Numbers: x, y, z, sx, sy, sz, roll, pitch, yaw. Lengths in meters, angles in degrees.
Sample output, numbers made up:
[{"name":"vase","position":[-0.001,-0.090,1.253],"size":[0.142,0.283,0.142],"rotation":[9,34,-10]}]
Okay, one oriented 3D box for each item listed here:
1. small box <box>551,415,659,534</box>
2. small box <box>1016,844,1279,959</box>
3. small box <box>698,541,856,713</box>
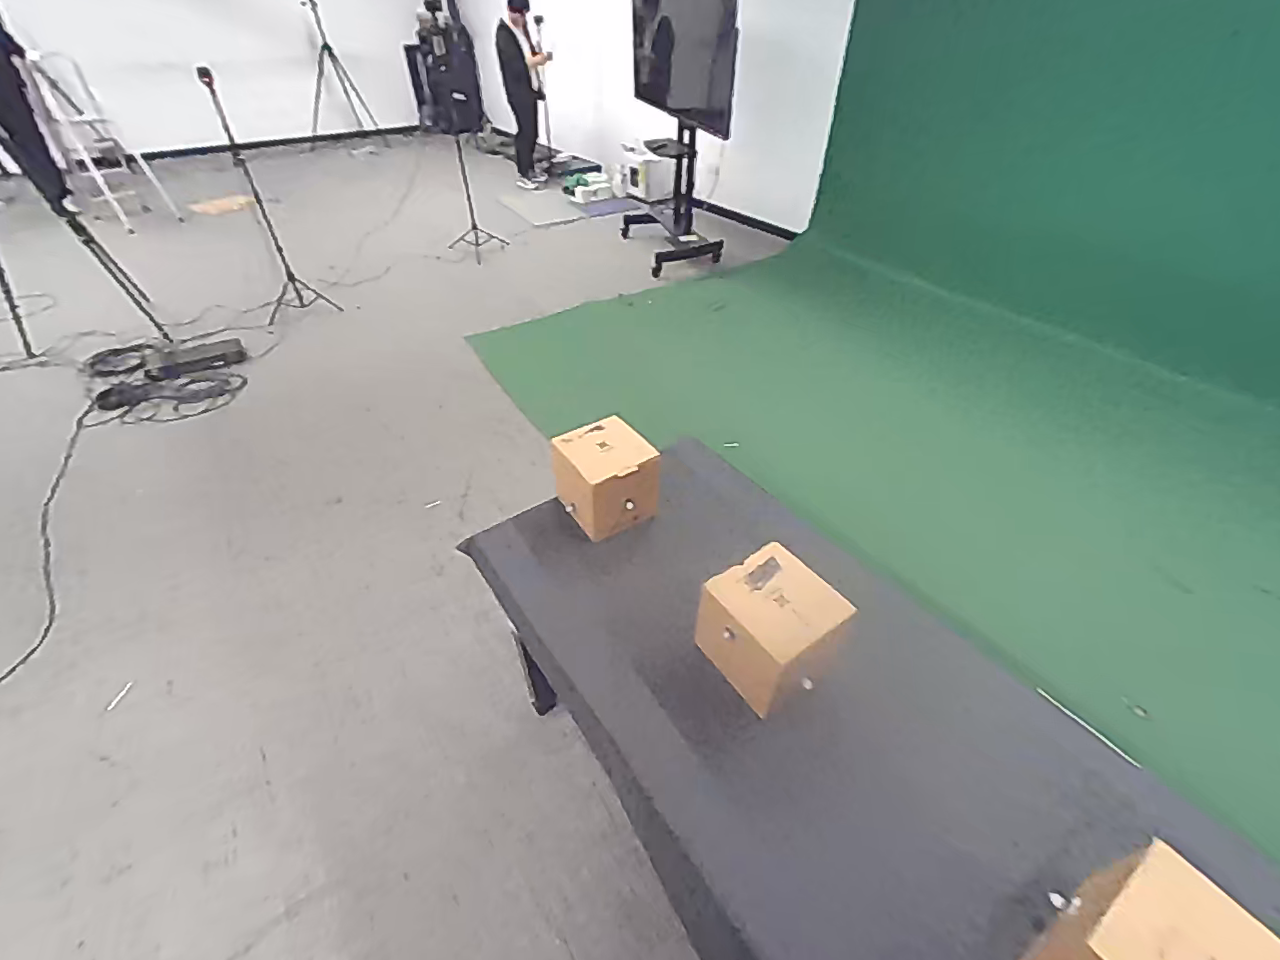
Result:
[{"name":"small box","position":[-0.074,-0.007,1.162],"size":[0.168,0.176,0.179],"rotation":[-23,48,-25]},{"name":"small box","position":[0.543,0.530,0.555],"size":[0.168,0.176,0.179],"rotation":[-23,45,-25]},{"name":"small box","position":[0.210,0.239,0.885],"size":[0.168,0.176,0.179],"rotation":[-25,48,-25]}]
